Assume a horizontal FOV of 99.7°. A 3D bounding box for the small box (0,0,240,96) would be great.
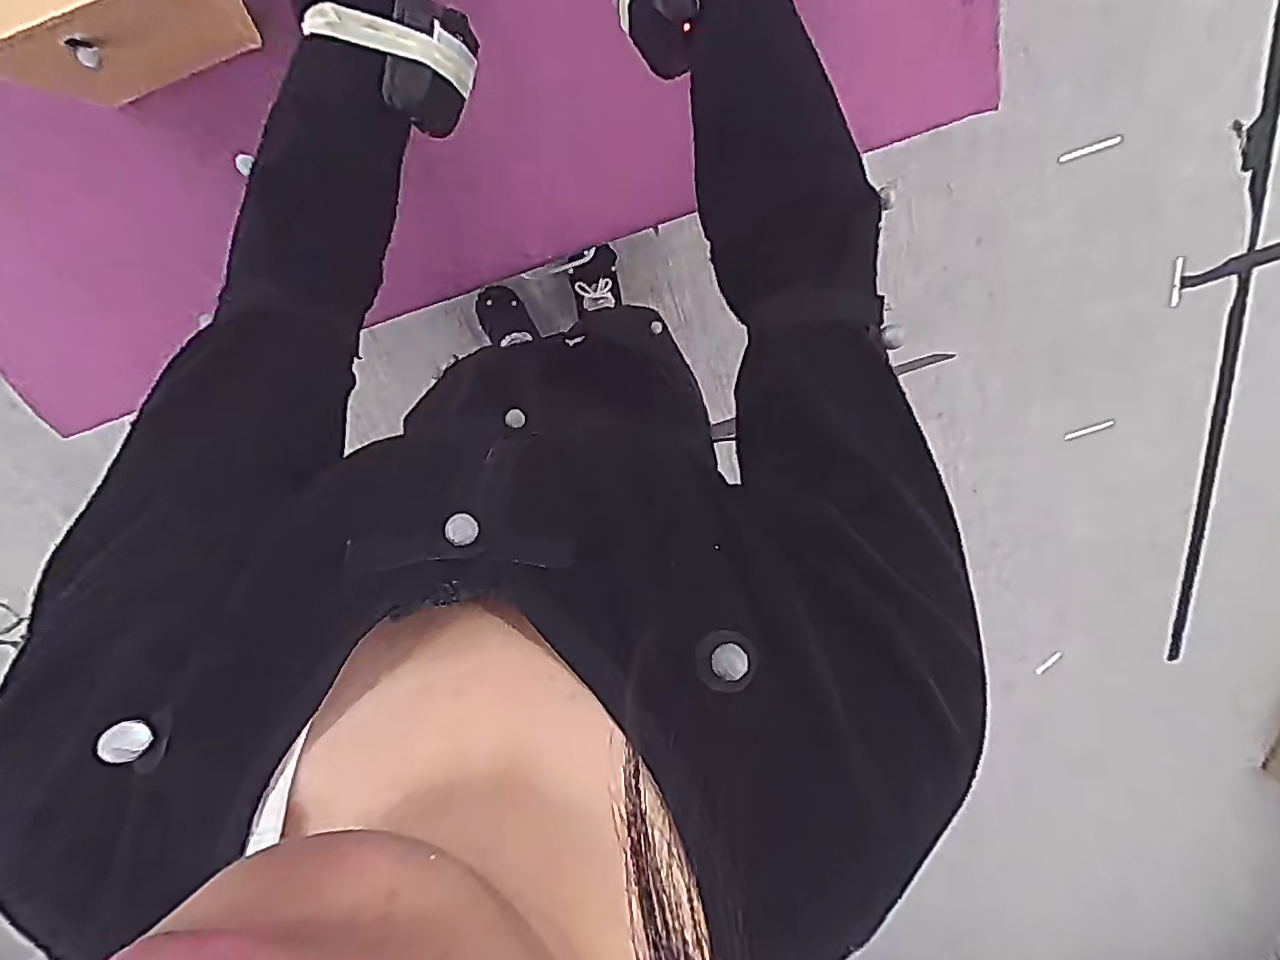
[{"bbox_3d":[-0.473,-0.442,0.434,0.179,0.176,0.168,-19,117,3],"label":"small box"}]
